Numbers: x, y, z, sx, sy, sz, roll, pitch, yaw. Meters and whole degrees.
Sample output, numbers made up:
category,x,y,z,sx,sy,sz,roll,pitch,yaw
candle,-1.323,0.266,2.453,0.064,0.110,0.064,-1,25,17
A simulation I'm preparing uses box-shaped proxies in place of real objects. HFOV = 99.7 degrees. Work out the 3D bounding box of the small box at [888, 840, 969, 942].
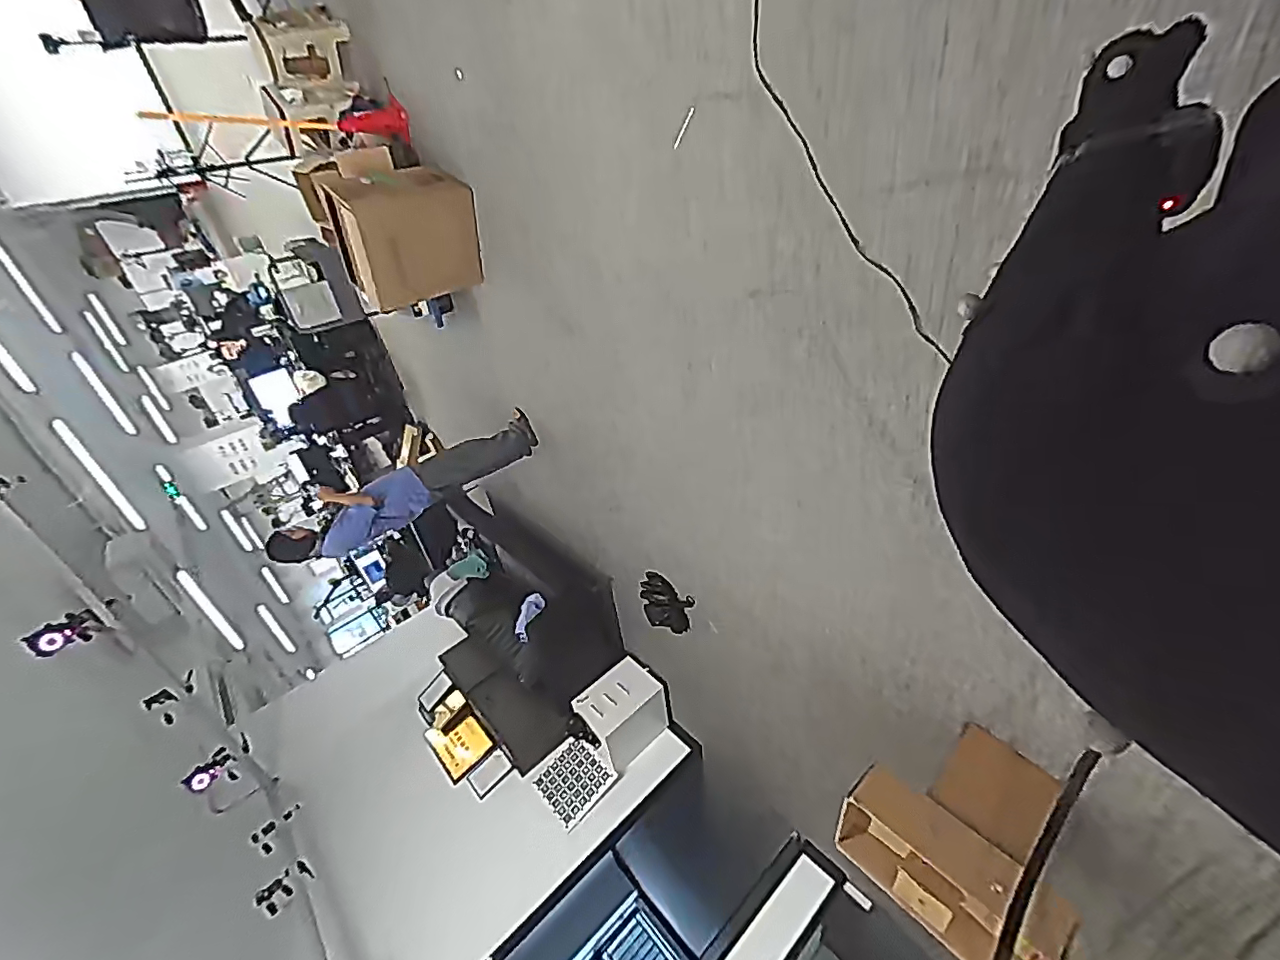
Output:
category,x,y,z,sx,sy,sz,roll,pitch,yaw
small box,0.921,1.303,1.725,0.168,0.176,0.179,28,139,43
